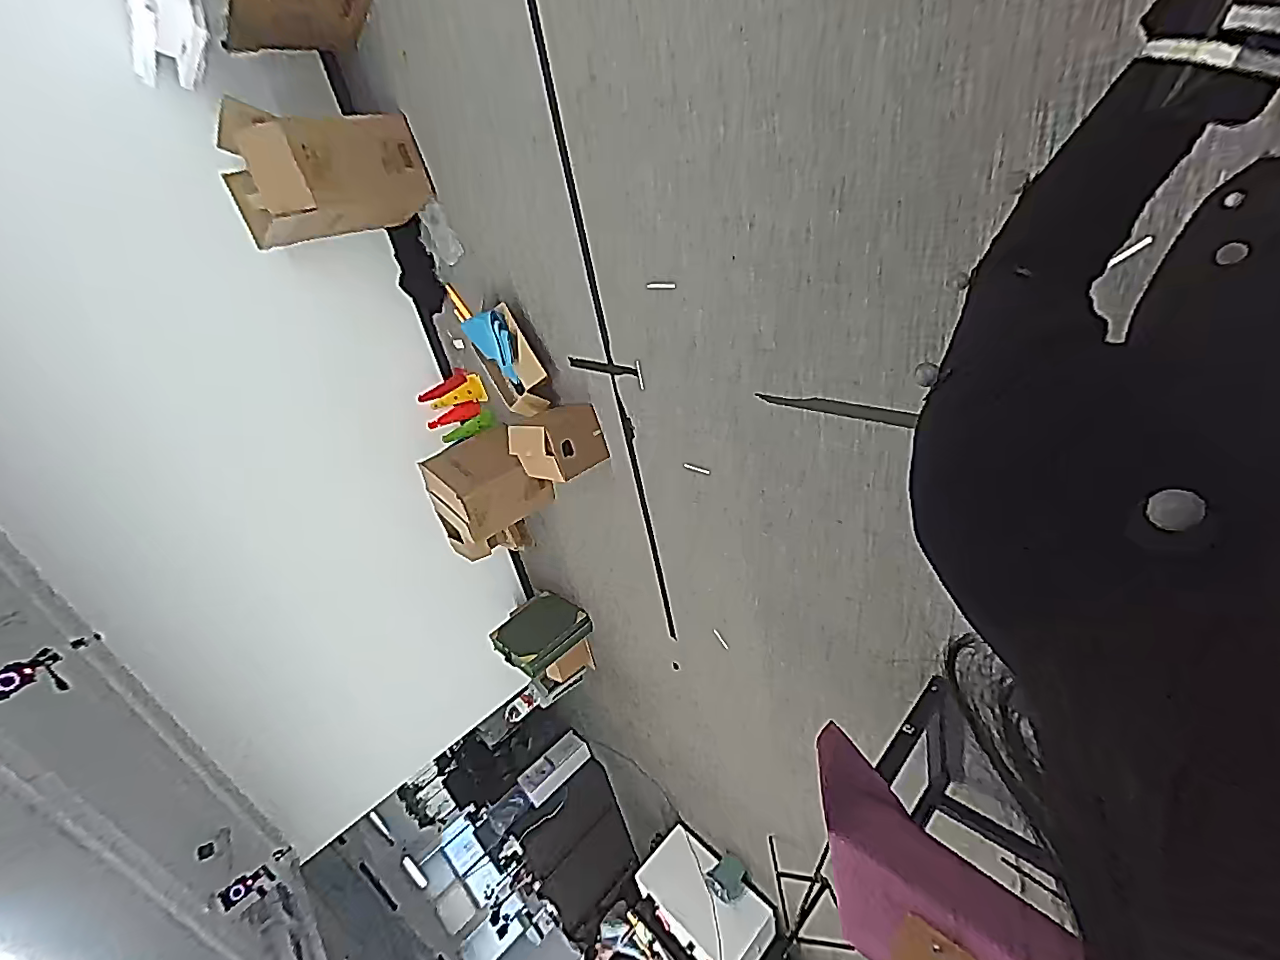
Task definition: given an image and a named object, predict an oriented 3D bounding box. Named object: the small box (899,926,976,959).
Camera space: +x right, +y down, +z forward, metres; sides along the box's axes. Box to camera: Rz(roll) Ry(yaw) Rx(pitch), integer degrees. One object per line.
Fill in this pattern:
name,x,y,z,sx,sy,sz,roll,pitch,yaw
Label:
small box,0.770,1.294,1.377,0.179,0.176,0.168,13,127,49
